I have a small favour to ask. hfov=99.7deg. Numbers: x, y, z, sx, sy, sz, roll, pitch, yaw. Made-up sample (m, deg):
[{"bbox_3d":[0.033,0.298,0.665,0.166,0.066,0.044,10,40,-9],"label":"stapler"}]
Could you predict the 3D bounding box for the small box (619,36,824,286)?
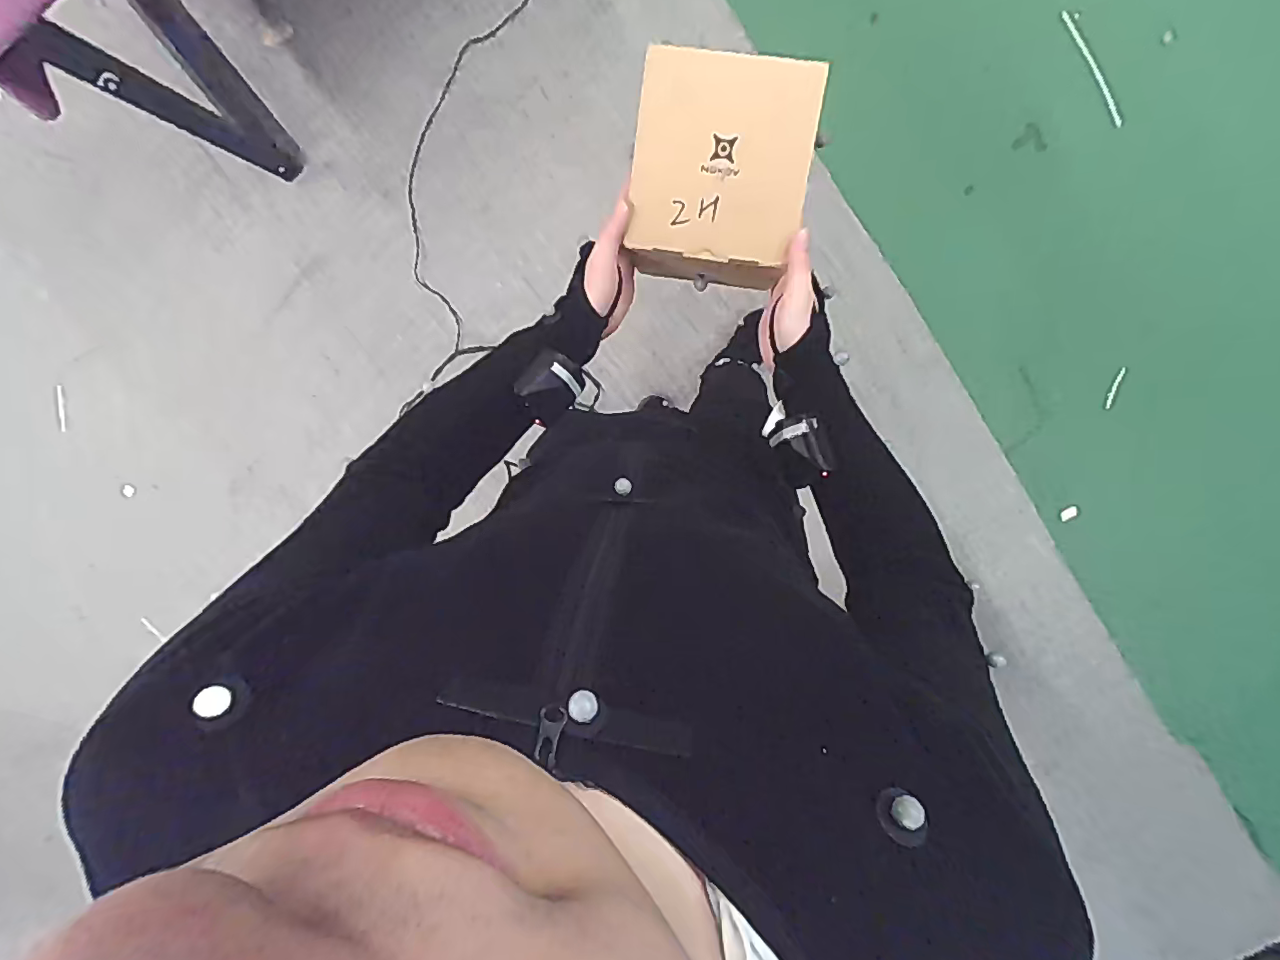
[{"bbox_3d":[0.079,-0.320,0.579,0.168,0.176,0.179,9,103,4],"label":"small box"}]
